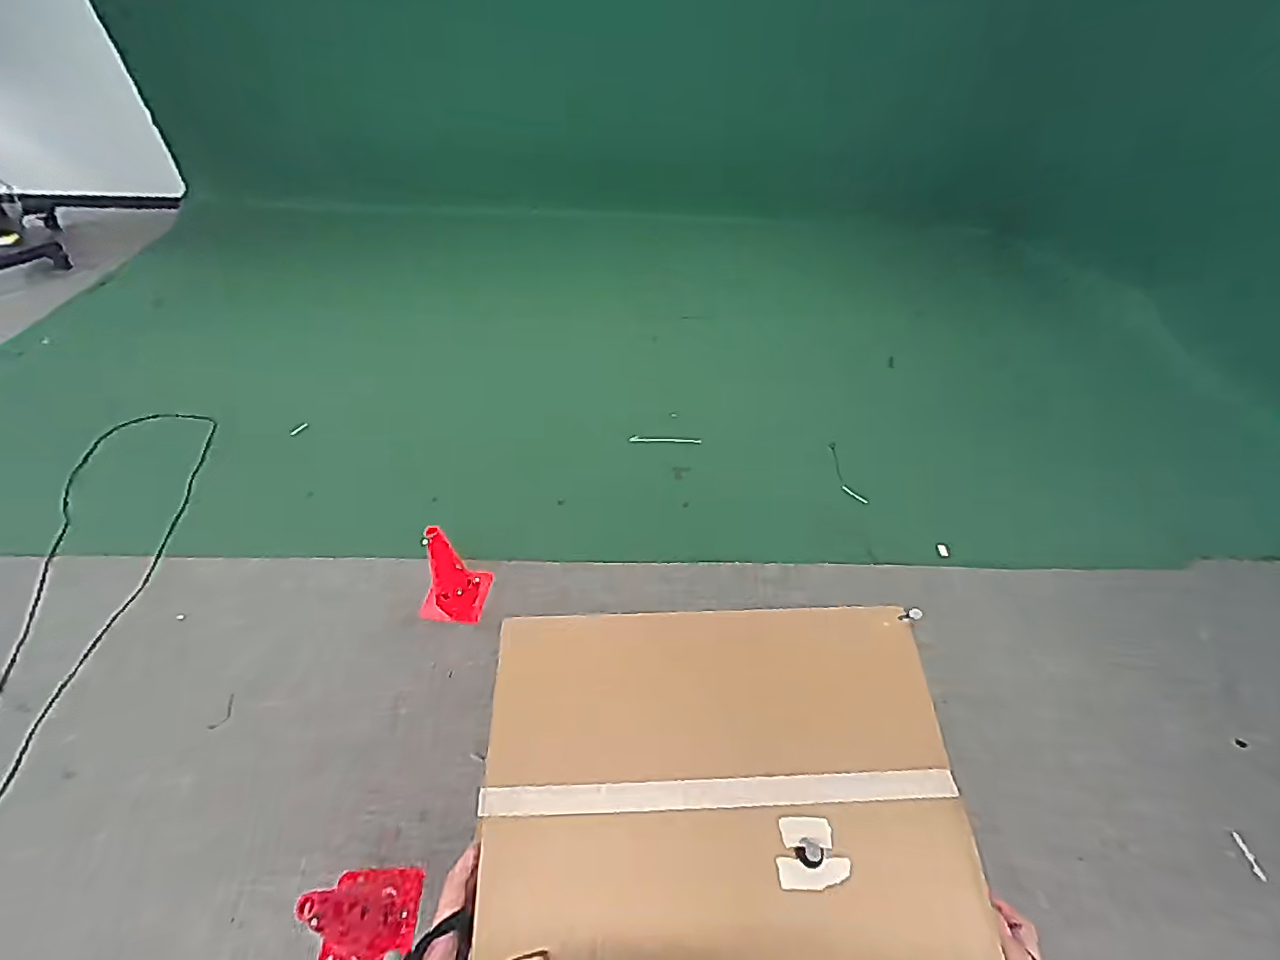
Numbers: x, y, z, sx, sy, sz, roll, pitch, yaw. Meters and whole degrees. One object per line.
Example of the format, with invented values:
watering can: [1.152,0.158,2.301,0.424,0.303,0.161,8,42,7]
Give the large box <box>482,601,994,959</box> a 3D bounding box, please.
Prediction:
large box: [0.067,0.339,0.606,0.408,0.320,0.320,-1,61,-2]

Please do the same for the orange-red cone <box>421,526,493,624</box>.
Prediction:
orange-red cone: [-0.616,0.274,1.709,0.199,0.360,0.198,5,46,5]
